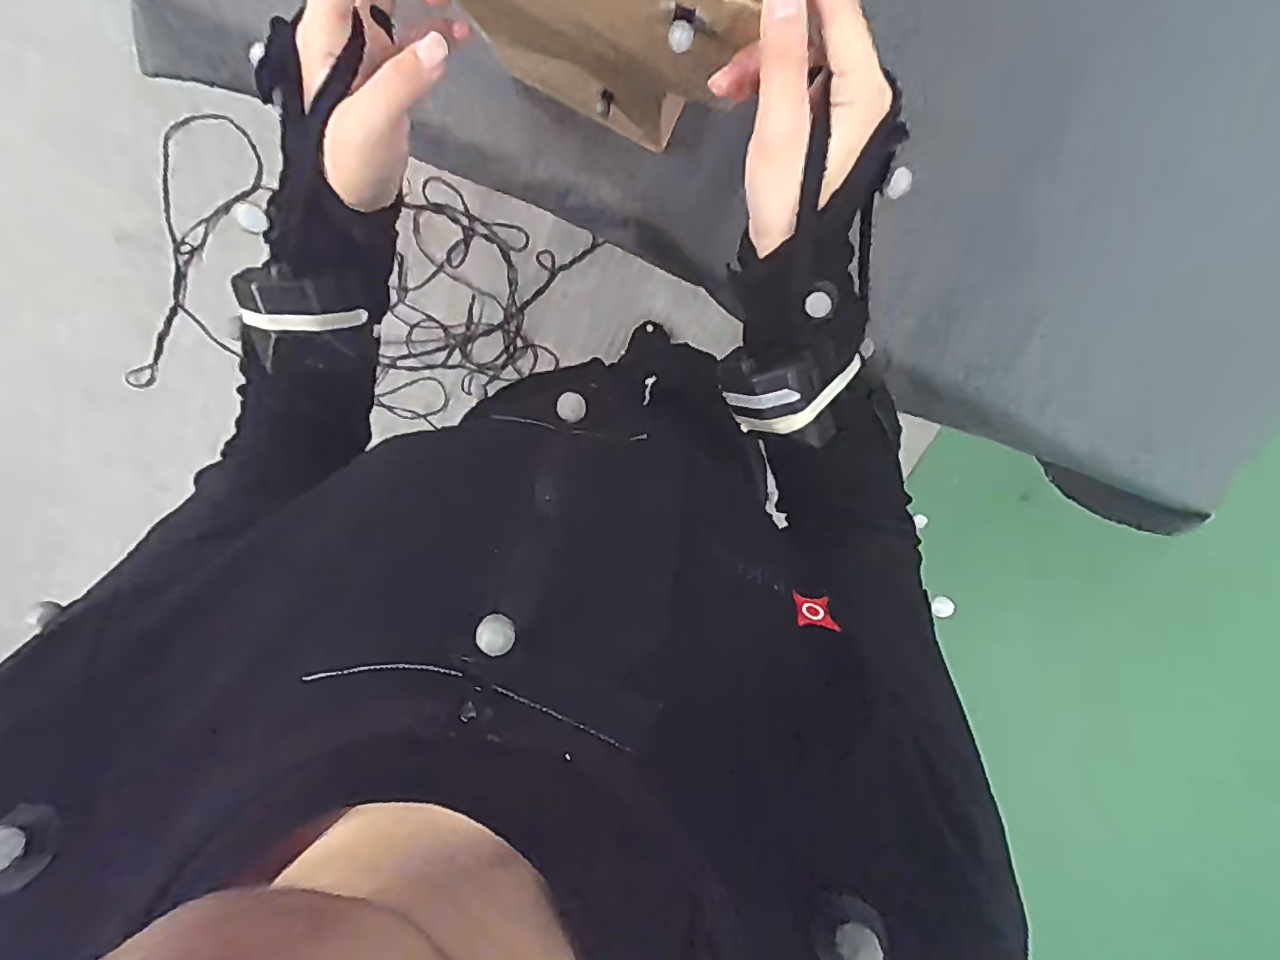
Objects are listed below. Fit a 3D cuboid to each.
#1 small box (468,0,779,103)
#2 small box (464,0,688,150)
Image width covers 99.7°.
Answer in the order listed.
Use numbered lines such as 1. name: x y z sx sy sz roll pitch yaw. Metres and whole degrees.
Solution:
1. small box: -0.002 -0.315 0.263 0.179 0.176 0.168 13 111 -5
2. small box: -0.017 -0.395 0.416 0.168 0.176 0.179 26 105 -5
